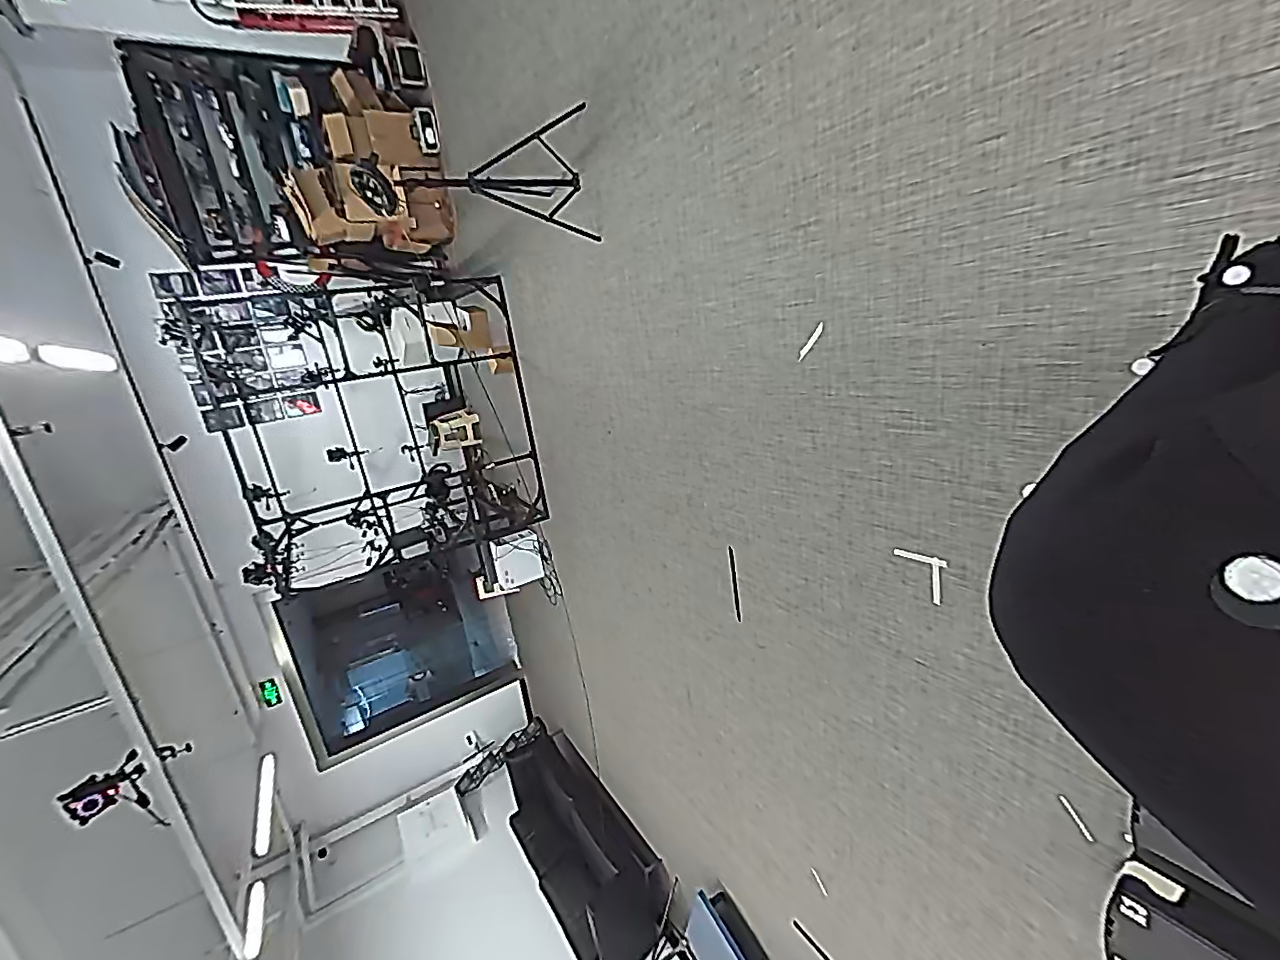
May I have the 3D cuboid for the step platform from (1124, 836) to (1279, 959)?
[{"bbox_3d":[1.403,1.070,1.054,0.684,0.204,0.286,17,119,59],"label":"step platform"}]
